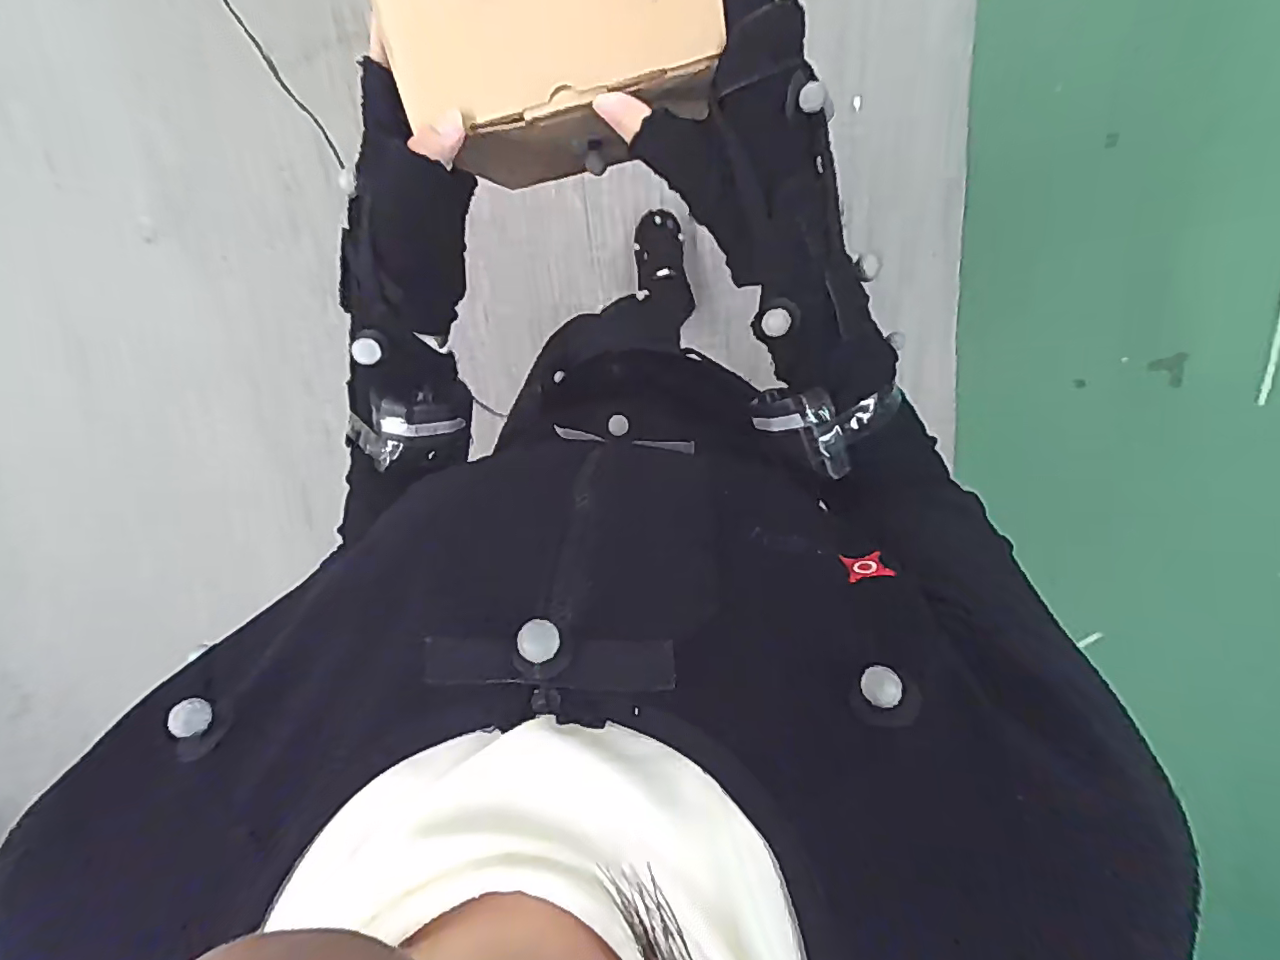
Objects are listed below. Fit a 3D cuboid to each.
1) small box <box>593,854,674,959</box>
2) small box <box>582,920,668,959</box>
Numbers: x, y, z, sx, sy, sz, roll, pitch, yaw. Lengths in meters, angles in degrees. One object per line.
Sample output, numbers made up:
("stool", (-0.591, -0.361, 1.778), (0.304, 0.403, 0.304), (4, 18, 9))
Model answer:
("small box", (-0.008, 1.076, 1.355), (0.179, 0.176, 0.168), (-4, 104, 9))
("small box", (-0.035, 1.122, 1.200), (0.179, 0.176, 0.168), (-5, 104, 9))
